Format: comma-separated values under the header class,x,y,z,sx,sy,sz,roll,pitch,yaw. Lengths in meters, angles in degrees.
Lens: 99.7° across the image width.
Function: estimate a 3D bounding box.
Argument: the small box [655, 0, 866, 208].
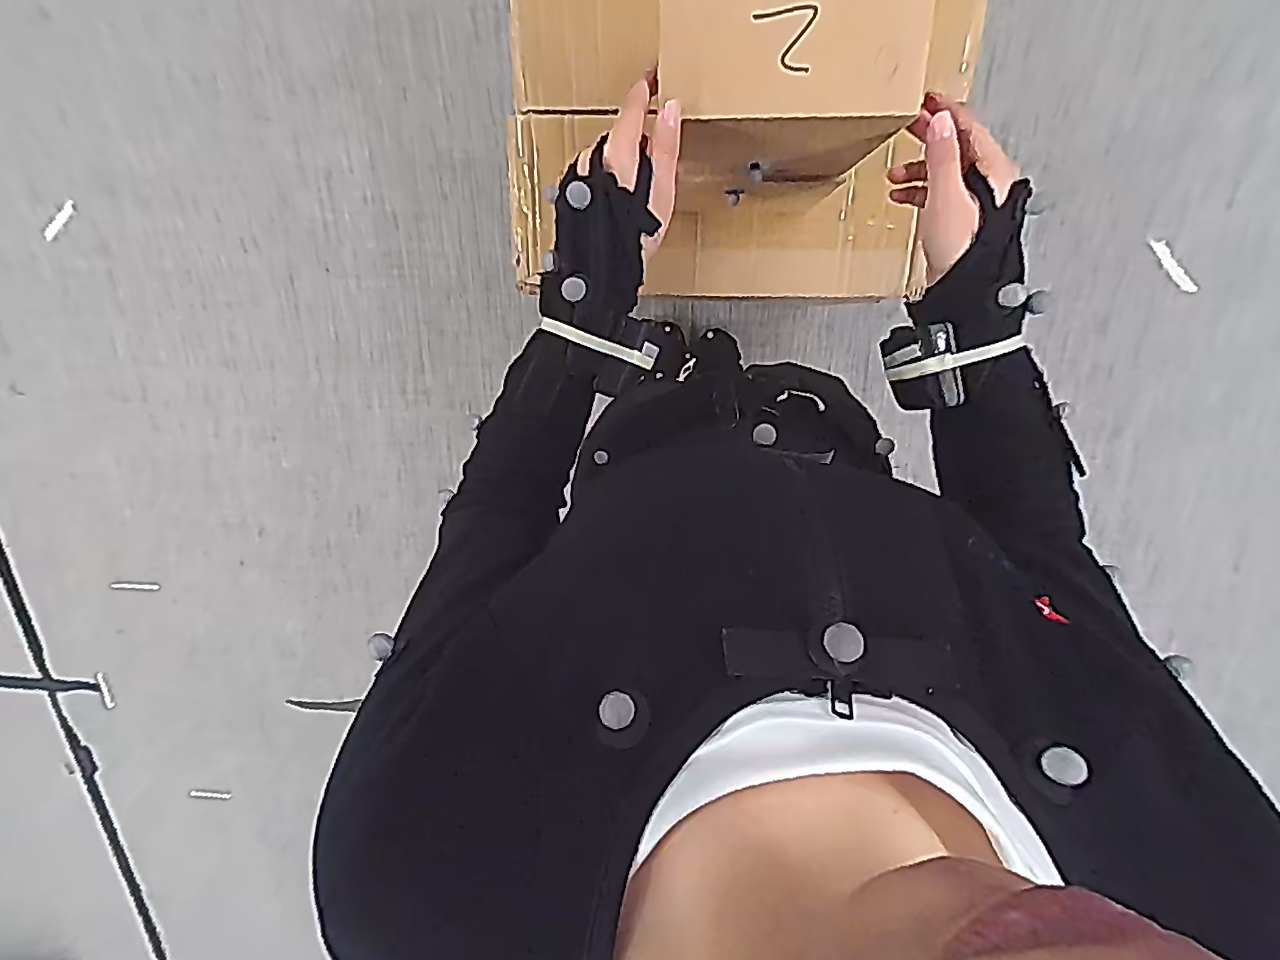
class,x,y,z,sx,sy,sz,roll,pitch,yaw
small box,0.109,-0.382,0.549,0.179,0.176,0.168,2,108,3
